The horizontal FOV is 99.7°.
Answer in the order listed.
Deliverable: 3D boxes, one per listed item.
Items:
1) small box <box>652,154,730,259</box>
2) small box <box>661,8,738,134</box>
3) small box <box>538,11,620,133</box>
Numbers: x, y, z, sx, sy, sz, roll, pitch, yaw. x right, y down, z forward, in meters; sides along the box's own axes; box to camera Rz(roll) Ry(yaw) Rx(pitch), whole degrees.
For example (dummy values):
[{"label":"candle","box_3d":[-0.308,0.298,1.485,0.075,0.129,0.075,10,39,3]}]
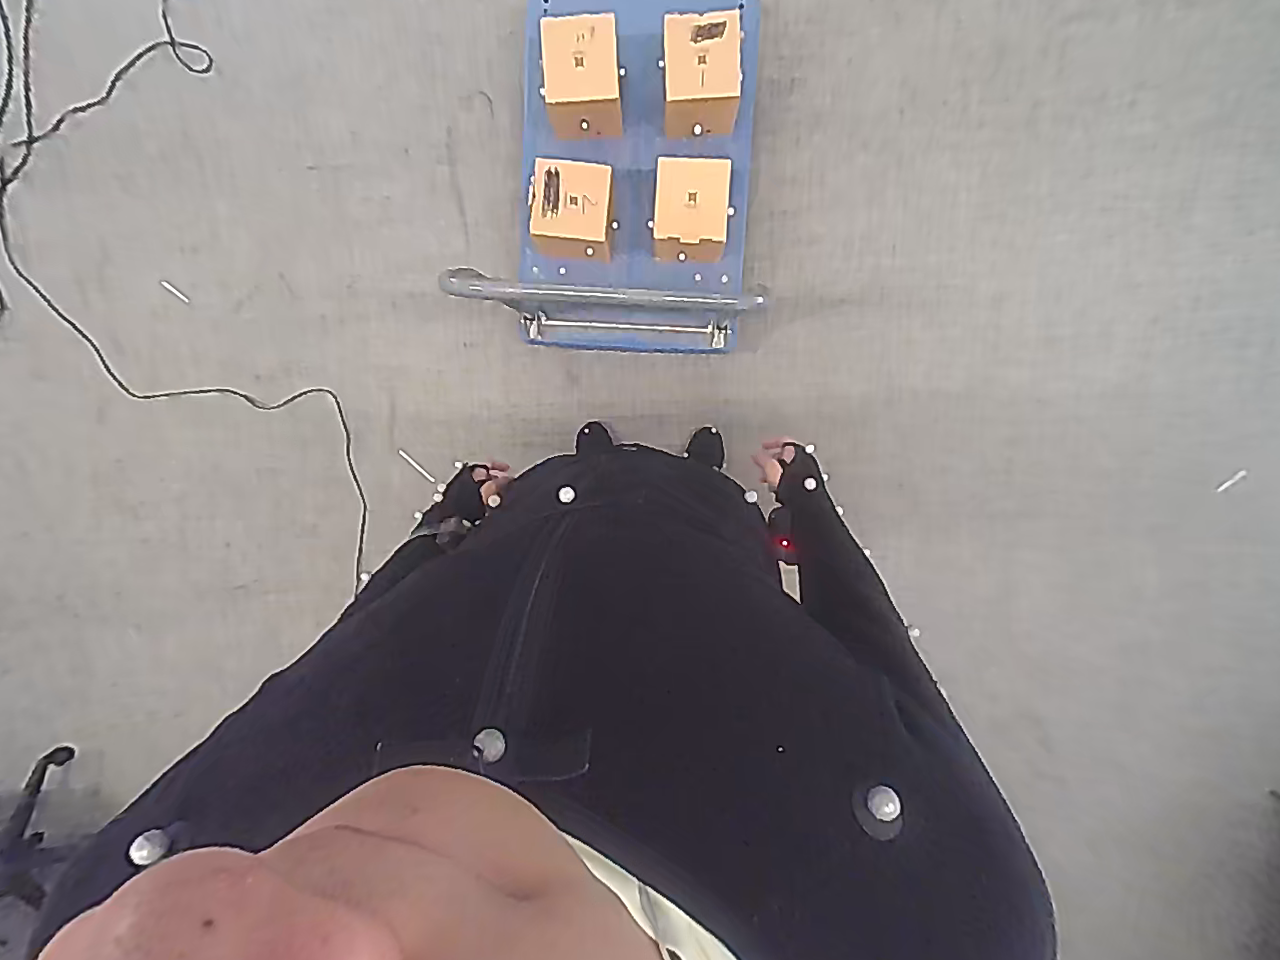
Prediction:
[{"label":"small box","box_3d":[0.115,-0.646,1.292,0.168,0.176,0.179,3,98,1]},{"label":"small box","box_3d":[0.133,-0.938,1.254,0.168,0.176,0.179,-2,98,2]},{"label":"small box","box_3d":[-0.137,-0.937,1.261,0.168,0.176,0.179,-3,97,1]}]
